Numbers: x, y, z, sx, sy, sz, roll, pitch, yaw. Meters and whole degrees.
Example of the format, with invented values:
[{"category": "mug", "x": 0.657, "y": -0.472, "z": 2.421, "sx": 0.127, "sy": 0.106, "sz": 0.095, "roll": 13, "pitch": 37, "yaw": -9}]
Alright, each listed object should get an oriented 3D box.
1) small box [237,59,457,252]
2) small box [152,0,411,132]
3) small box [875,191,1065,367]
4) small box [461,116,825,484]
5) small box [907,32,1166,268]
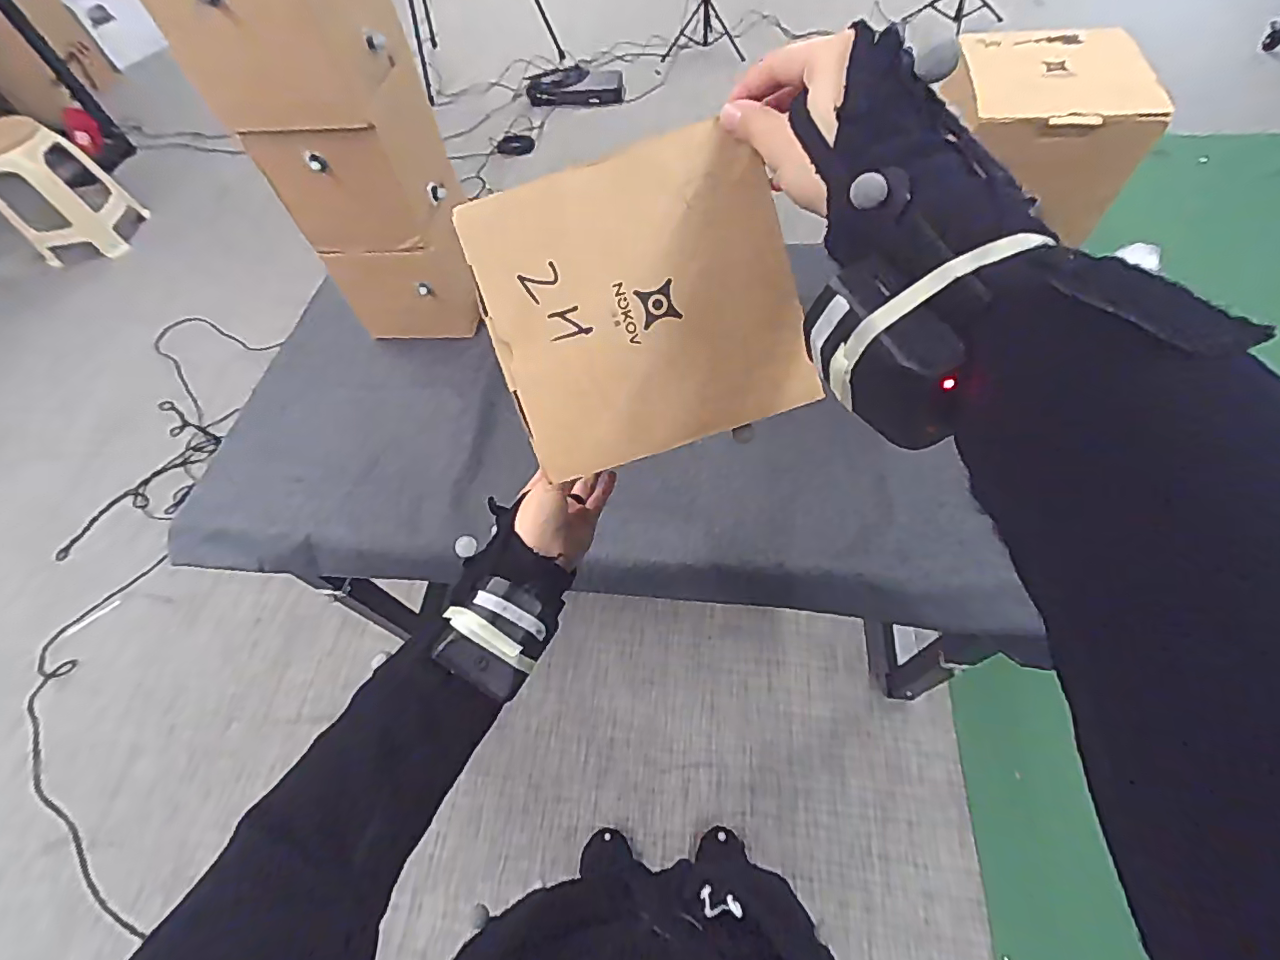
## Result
[{"category": "small box", "x": -0.372, "y": -0.427, "z": 0.726, "sx": 0.179, "sy": 0.176, "sz": 0.168, "roll": 1, "pitch": 61, "yaw": 4}, {"category": "small box", "x": -0.382, "y": -0.502, "z": 0.580, "sx": 0.179, "sy": 0.176, "sz": 0.168, "roll": 2, "pitch": 61, "yaw": 5}, {"category": "small box", "x": 0.437, "y": -0.283, "z": 0.752, "sx": 0.168, "sy": 0.176, "sz": 0.179, "roll": 5, "pitch": 61, "yaw": 9}, {"category": "small box", "x": 0.004, "y": -0.112, "z": 0.388, "sx": 0.179, "sy": 0.176, "sz": 0.168, "roll": -17, "pitch": 99, "yaw": 3}, {"category": "small box", "x": 0.418, "y": -0.362, "z": 0.610, "sx": 0.168, "sy": 0.176, "sz": 0.179, "roll": 6, "pitch": 61, "yaw": 9}]
